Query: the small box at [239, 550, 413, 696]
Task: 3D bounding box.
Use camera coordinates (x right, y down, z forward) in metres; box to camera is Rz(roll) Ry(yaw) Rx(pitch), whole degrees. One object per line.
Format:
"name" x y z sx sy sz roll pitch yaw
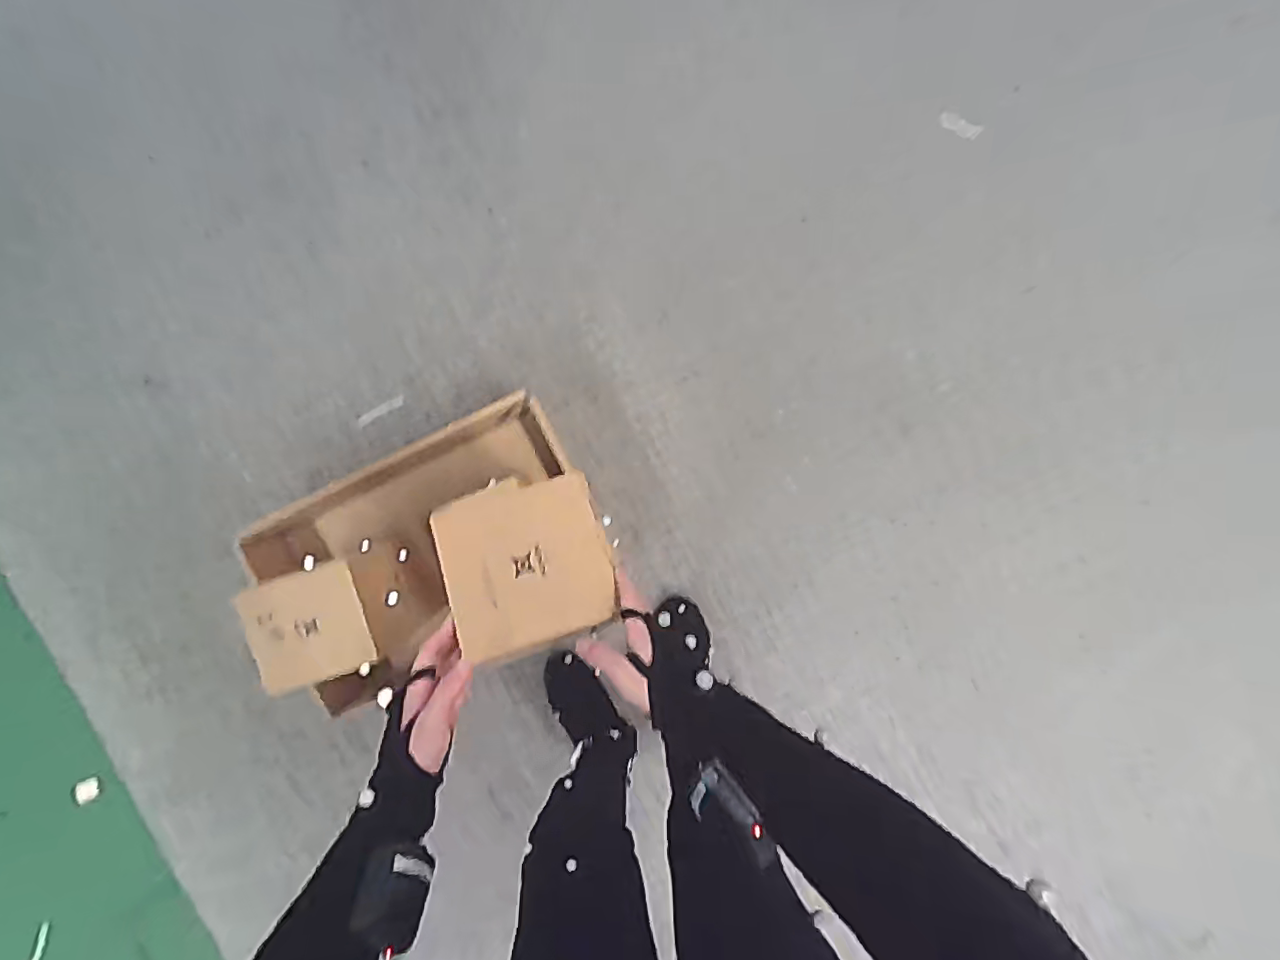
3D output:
"small box" -0.496 0.222 0.889 0.179 0.176 0.168 -17 90 -2

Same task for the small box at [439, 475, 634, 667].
"small box" -0.114 0.113 0.646 0.179 0.176 0.168 -17 73 -6
